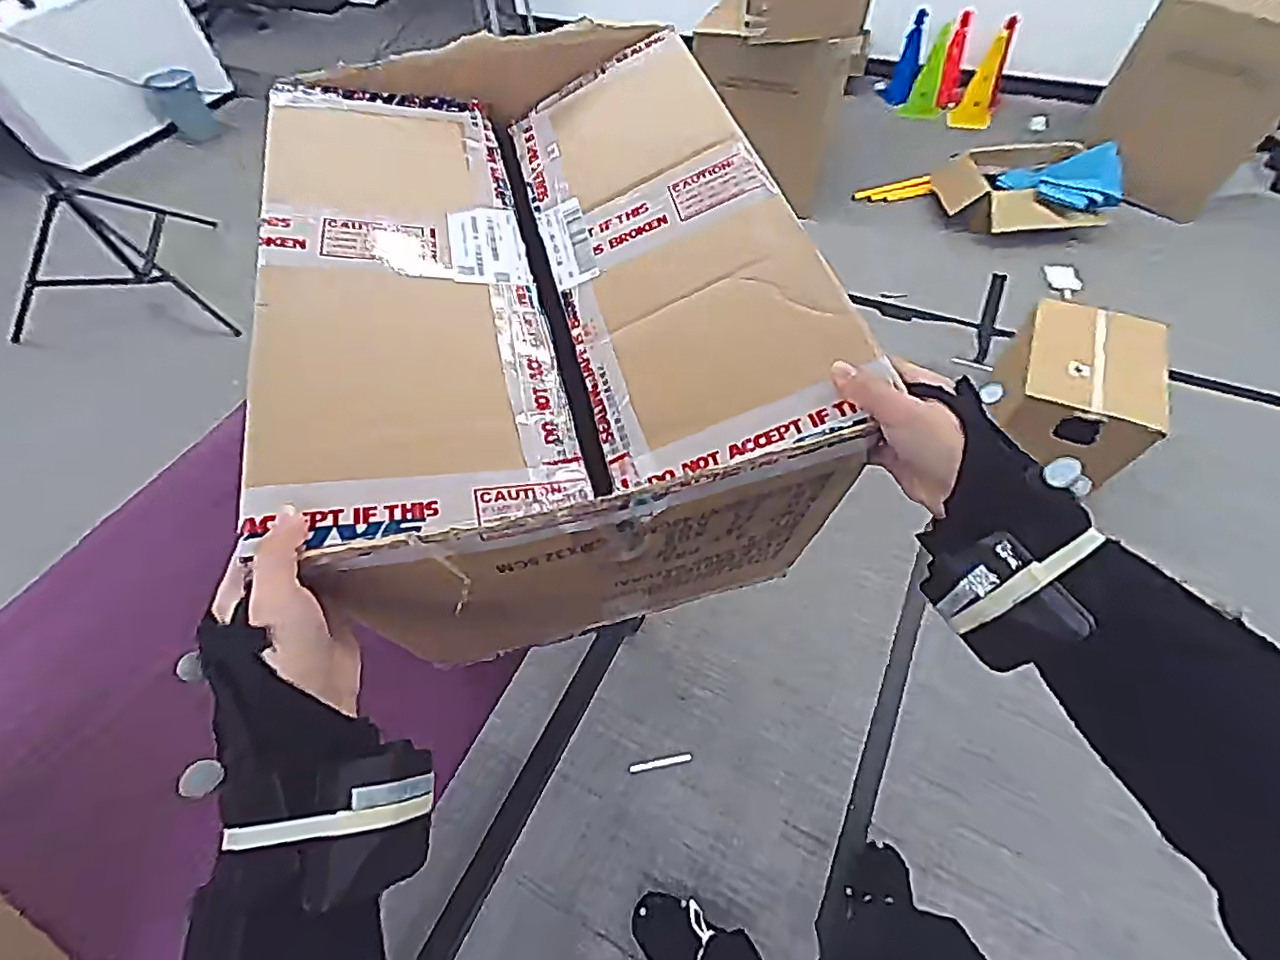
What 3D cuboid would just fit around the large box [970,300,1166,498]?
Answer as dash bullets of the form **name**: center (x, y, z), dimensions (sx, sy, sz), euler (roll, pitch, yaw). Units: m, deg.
- **large box**: center (1.183, -0.228, 1.524), dimensions (0.320, 0.320, 0.408), euler (20, 61, 16)
